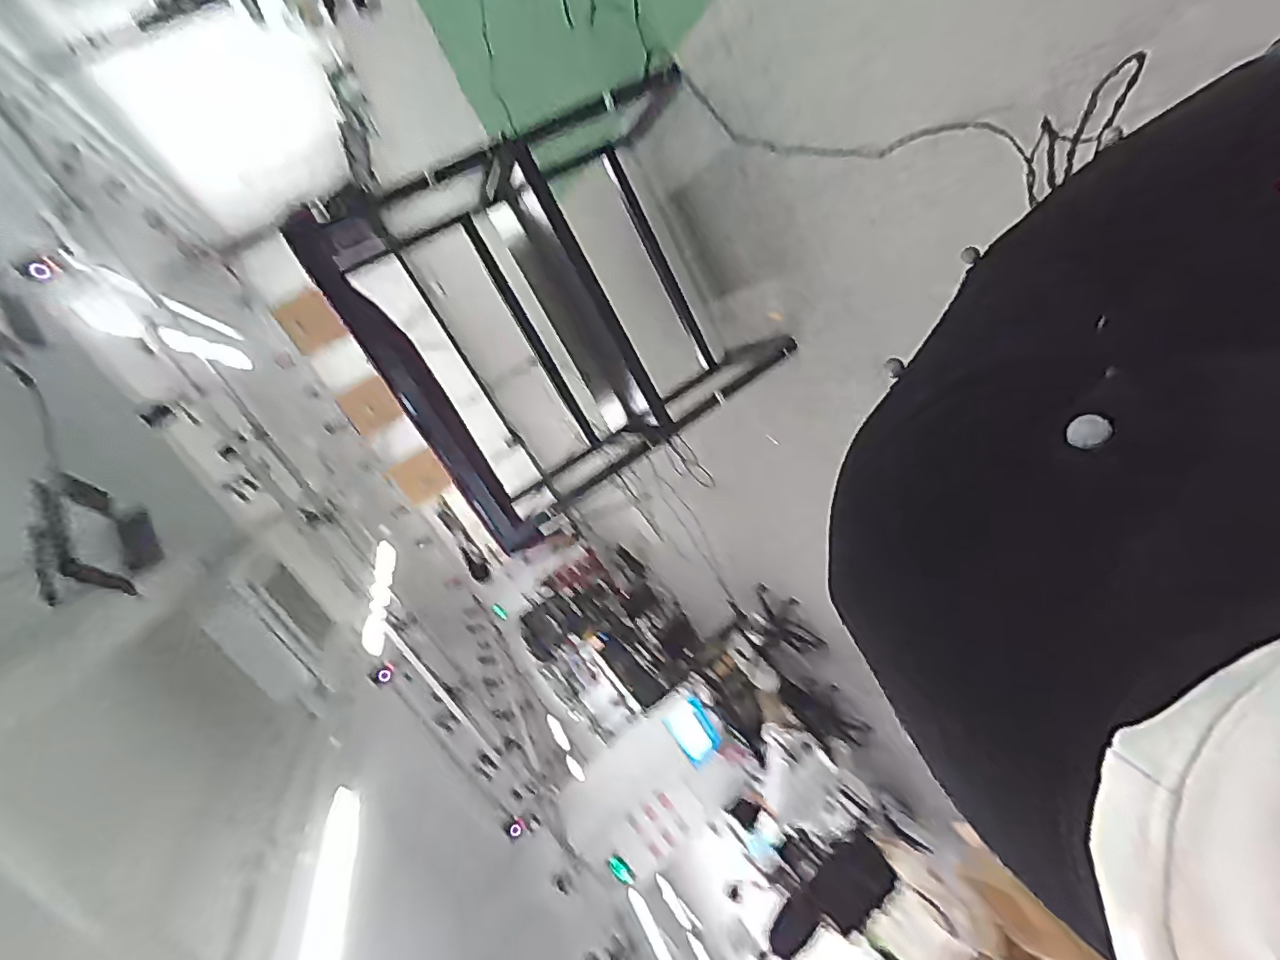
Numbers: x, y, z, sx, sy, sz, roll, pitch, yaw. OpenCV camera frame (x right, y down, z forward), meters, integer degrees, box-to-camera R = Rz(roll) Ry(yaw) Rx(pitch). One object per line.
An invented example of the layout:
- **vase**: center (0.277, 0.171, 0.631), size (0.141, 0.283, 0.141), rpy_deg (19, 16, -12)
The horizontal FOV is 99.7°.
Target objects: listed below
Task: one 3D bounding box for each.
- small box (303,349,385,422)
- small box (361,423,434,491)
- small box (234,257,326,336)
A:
- **small box**: center (-0.966, -0.314, 1.787), size (0.179, 0.176, 0.168), rpy_deg (60, 164, -21)
- **small box**: center (-0.835, -0.086, 1.879), size (0.168, 0.176, 0.179), rpy_deg (60, 165, -18)
- **small box**: center (-1.113, -0.570, 1.695), size (0.179, 0.176, 0.168), rpy_deg (61, 164, -24)
